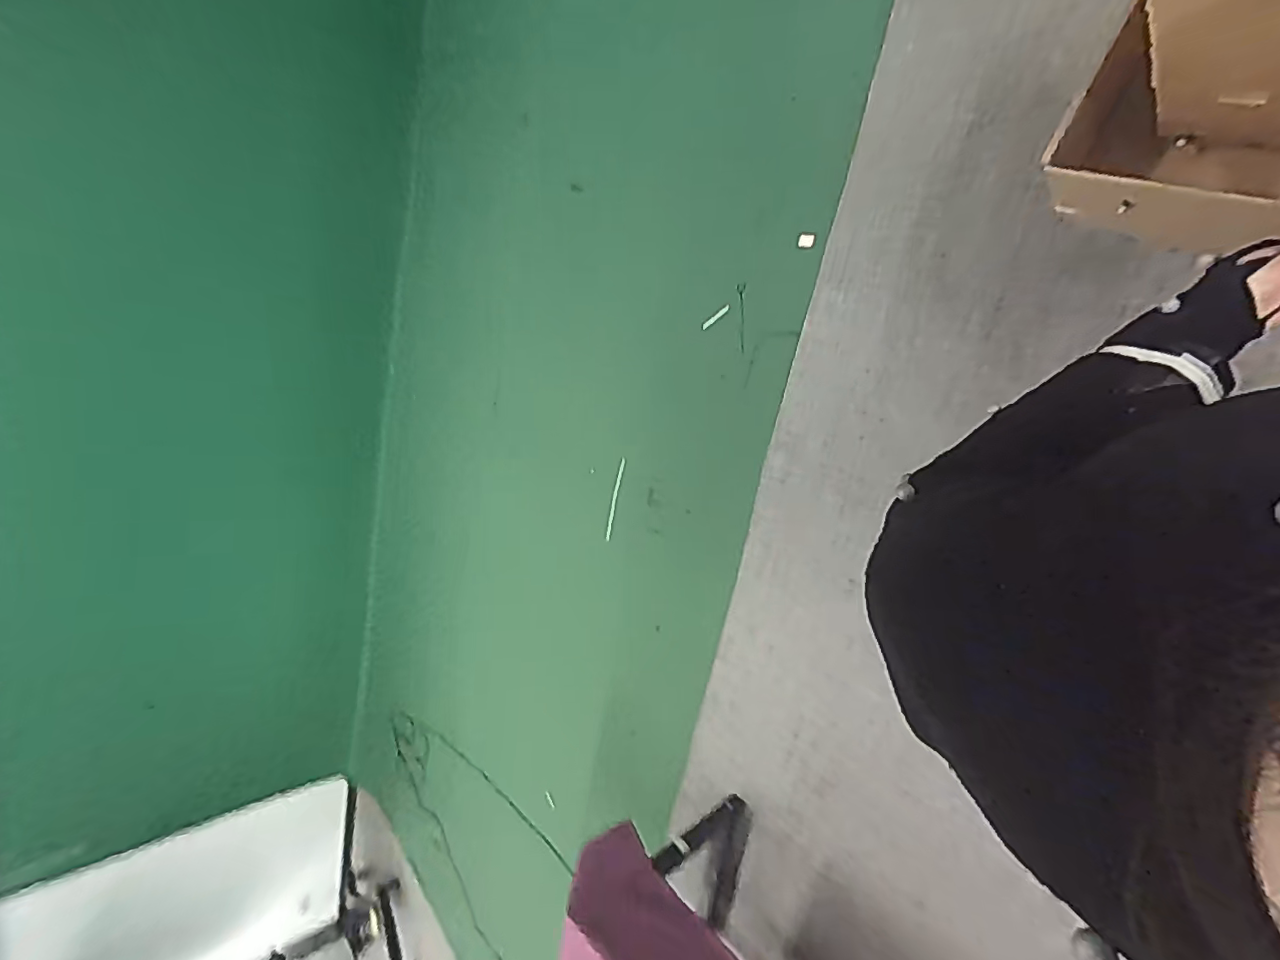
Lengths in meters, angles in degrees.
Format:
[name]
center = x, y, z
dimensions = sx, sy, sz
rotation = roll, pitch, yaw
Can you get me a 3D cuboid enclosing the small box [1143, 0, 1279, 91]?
[small box]
center = 0.634, -0.504, 0.517
dimensions = 0.179, 0.176, 0.168
rotation = 36, 116, 35
